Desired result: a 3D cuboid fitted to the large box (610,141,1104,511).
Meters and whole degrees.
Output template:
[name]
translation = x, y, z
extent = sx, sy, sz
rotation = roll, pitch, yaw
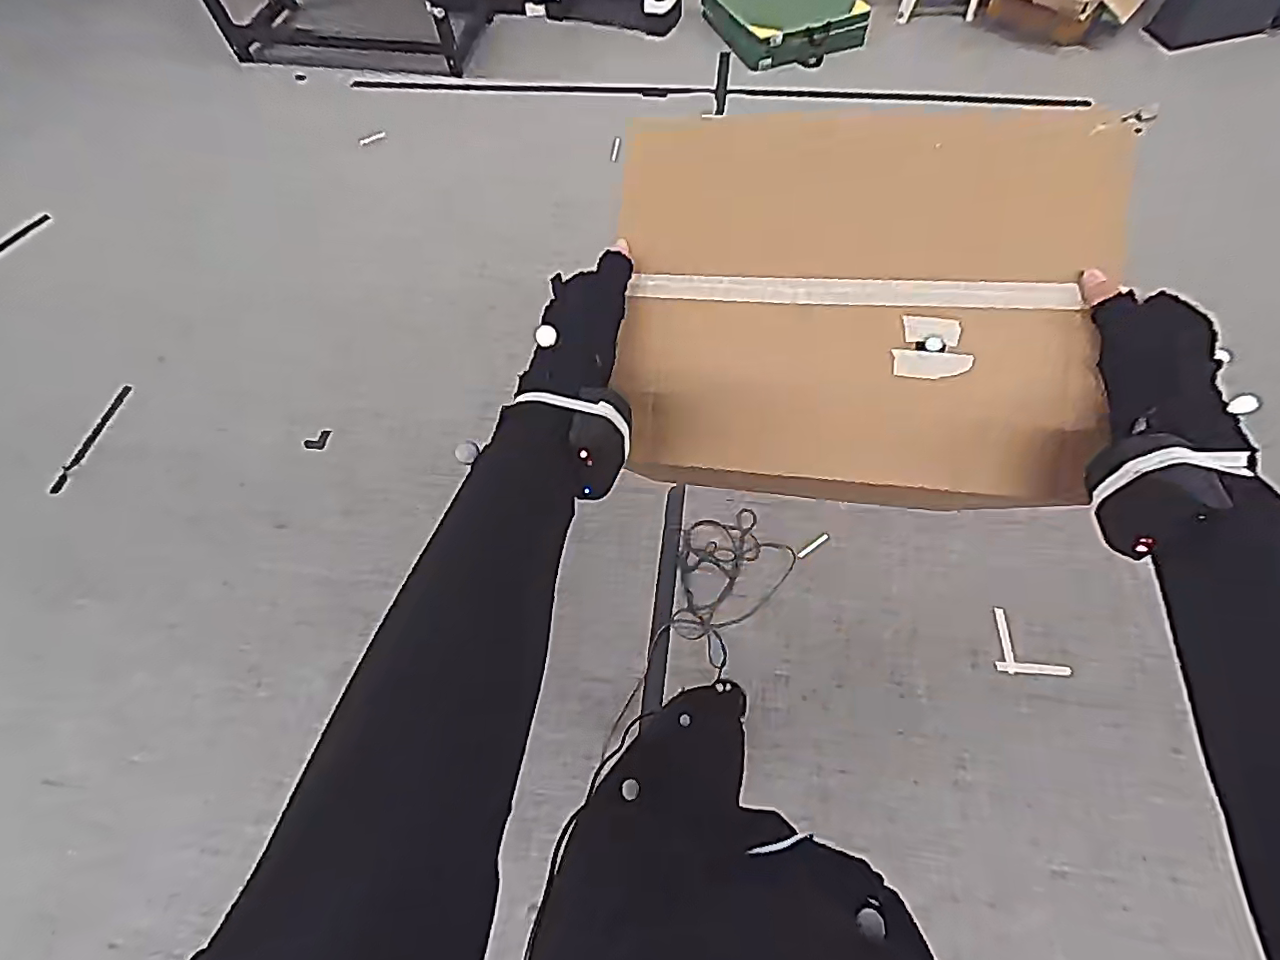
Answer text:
[large box]
translation = 0.200, -0.135, 0.620
extent = 0.408, 0.320, 0.320
rotation = 5, 88, 10
